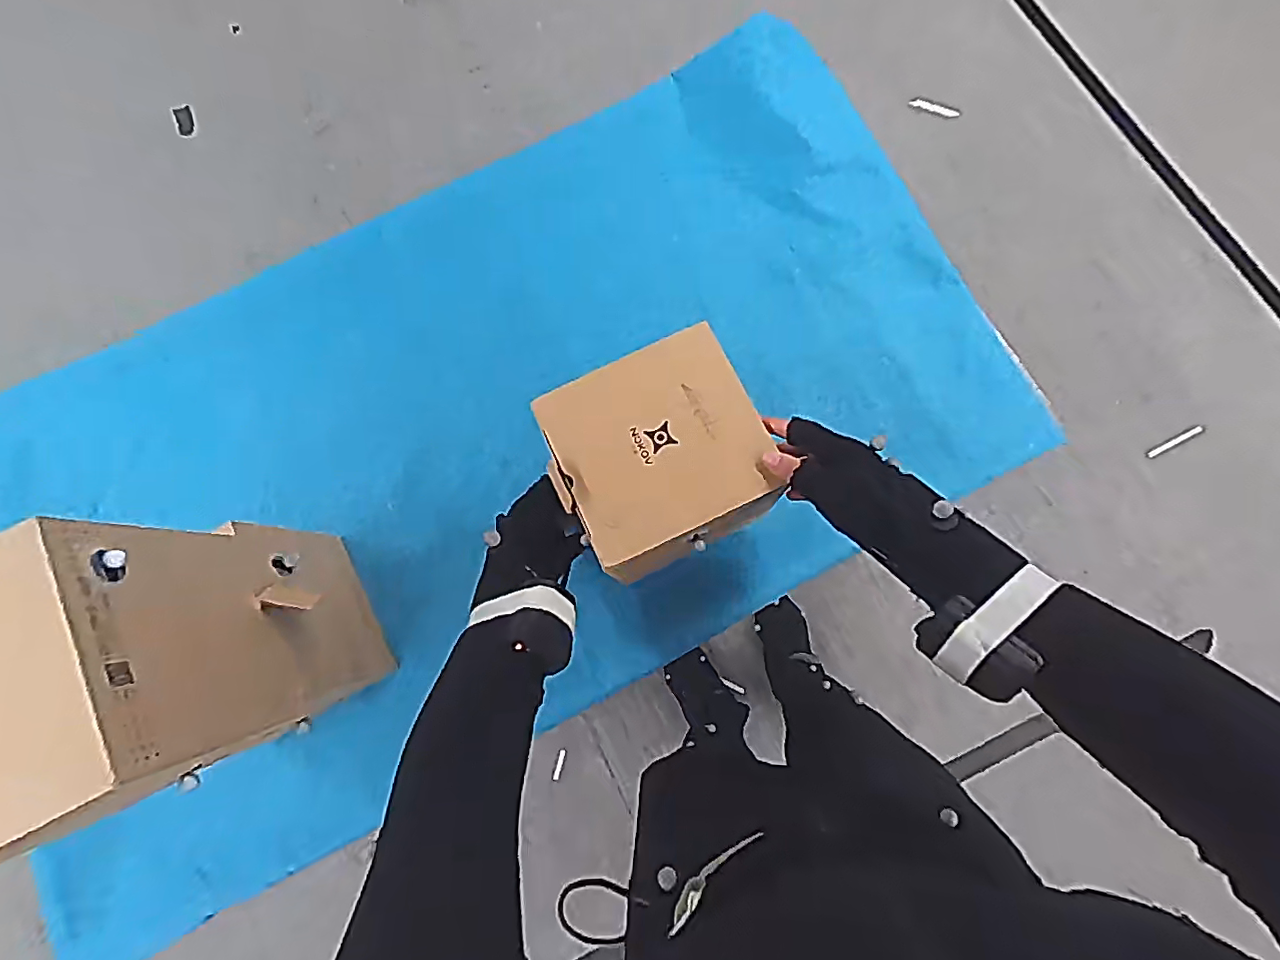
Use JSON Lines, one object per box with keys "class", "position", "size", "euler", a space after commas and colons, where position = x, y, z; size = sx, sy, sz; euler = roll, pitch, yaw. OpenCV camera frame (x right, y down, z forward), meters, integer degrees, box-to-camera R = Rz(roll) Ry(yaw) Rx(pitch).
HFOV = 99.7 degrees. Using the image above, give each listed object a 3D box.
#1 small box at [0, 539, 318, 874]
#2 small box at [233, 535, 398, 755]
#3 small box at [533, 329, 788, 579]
{"class": "small box", "position": [-0.385, 0.151, 0.384], "size": [0.179, 0.176, 0.168], "euler": [-28, 79, -2]}
{"class": "small box", "position": [-0.385, 0.172, 0.550], "size": [0.168, 0.176, 0.179], "euler": [-27, 81, 0]}
{"class": "small box", "position": [0.022, -0.010, 0.539], "size": [0.179, 0.176, 0.168], "euler": [-26, 76, 0]}
